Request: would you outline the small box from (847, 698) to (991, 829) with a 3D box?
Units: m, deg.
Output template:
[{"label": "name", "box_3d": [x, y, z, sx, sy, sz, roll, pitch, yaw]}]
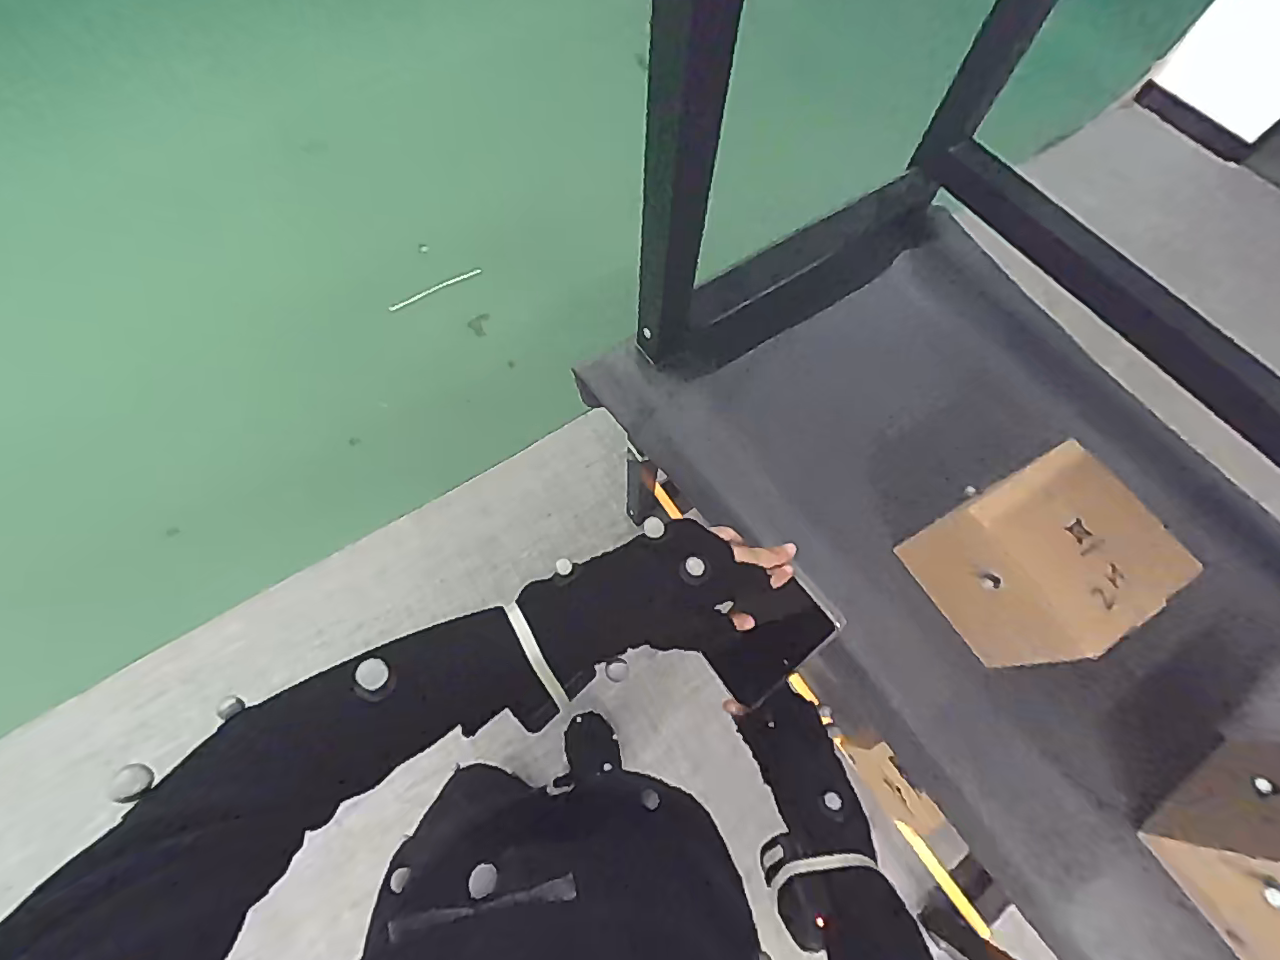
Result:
[{"label": "small box", "box_3d": [0.553, 0.570, 1.105, 0.179, 0.176, 0.168, -29, 72, -13]}]

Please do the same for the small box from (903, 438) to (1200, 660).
[{"label": "small box", "box_3d": [0.449, 0.088, 0.626, 0.168, 0.176, 0.179, -29, 71, -13]}]
